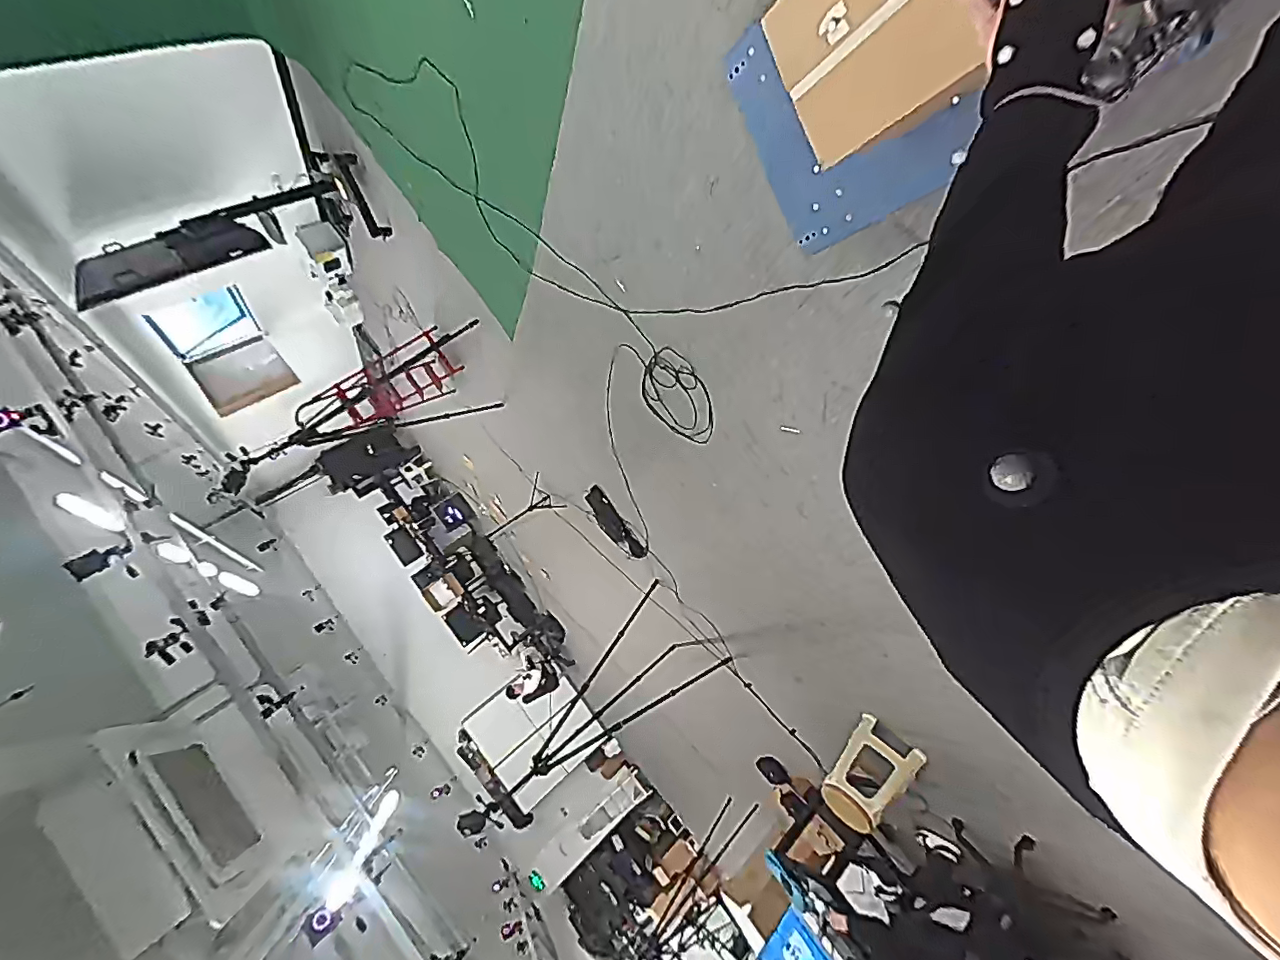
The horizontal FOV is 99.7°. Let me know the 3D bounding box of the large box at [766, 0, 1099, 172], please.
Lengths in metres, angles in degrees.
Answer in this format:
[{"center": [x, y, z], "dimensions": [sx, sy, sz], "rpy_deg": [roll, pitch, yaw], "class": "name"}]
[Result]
[{"center": [0.526, -0.867, 1.000], "dimensions": [0.408, 0.320, 0.320], "rpy_deg": [-4, 117, 60], "class": "large box"}]
